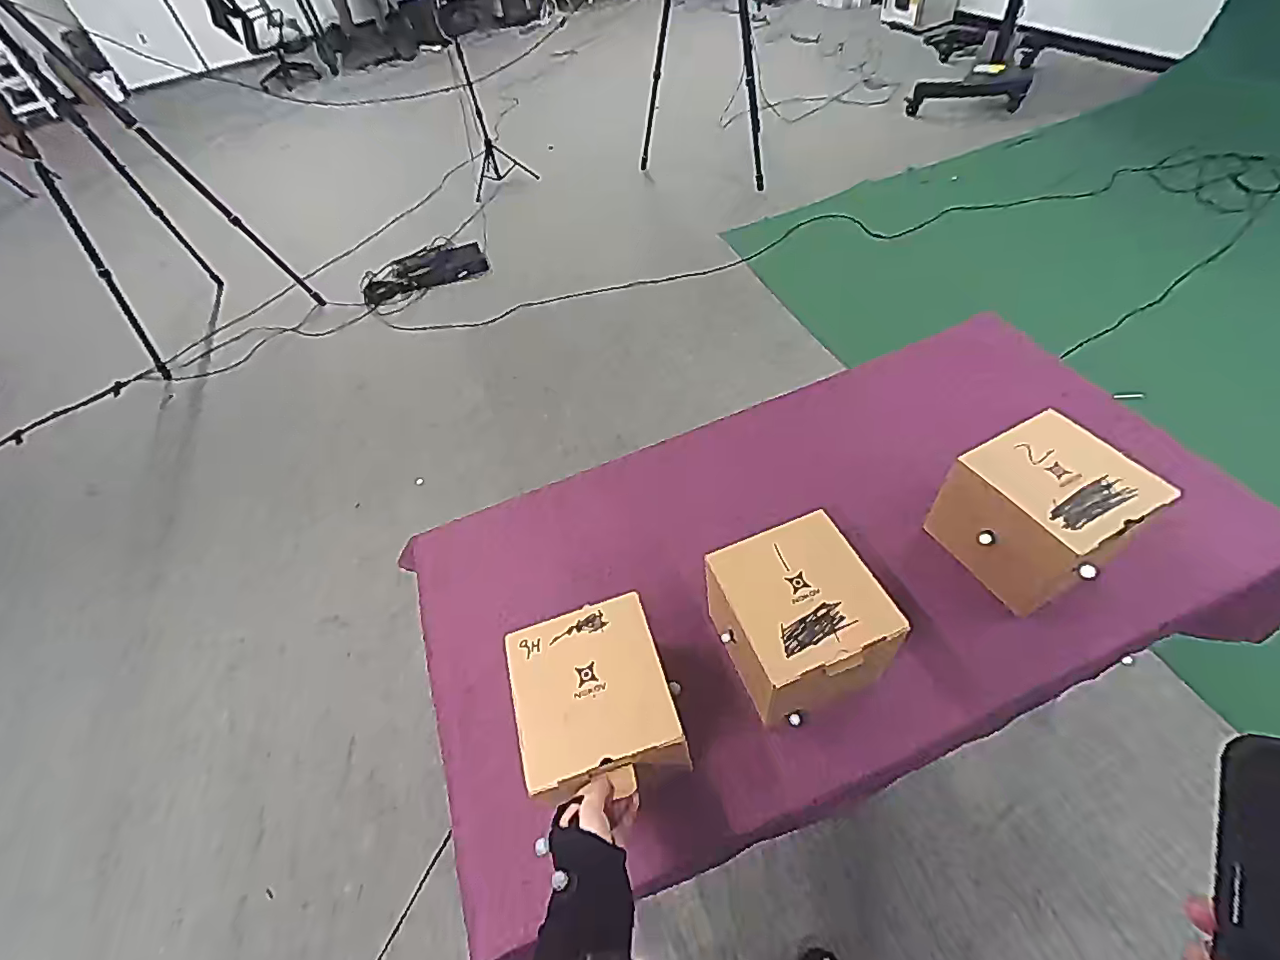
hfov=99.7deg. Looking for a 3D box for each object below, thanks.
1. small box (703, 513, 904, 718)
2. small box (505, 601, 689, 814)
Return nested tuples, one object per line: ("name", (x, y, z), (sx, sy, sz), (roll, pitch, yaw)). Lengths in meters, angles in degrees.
("small box", (0.193, 0.179, 0.683), (0.168, 0.176, 0.179), (-21, 50, -7))
("small box", (-0.046, 0.278, 0.646), (0.168, 0.176, 0.179), (-18, 52, -4))
